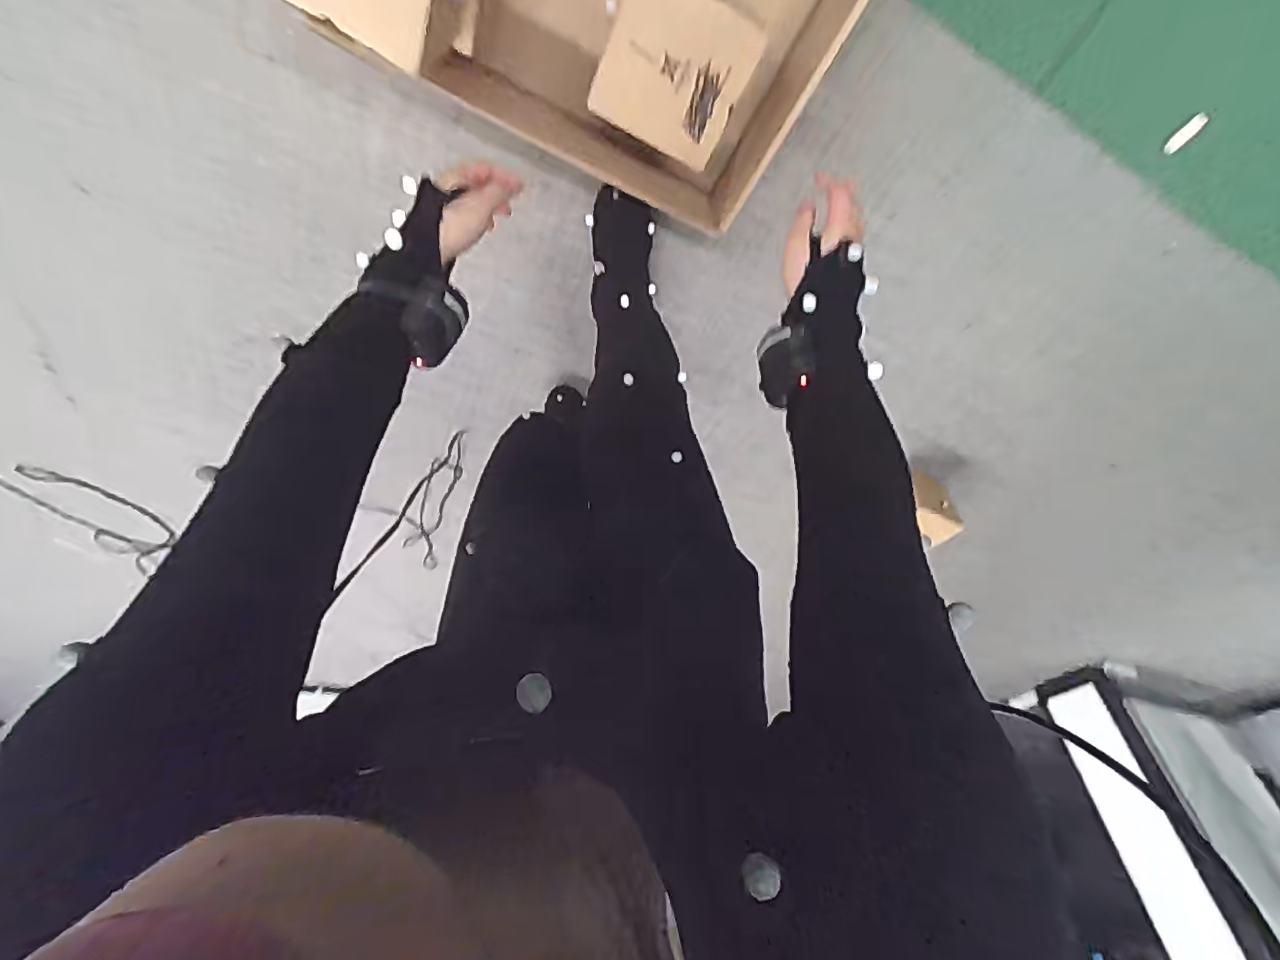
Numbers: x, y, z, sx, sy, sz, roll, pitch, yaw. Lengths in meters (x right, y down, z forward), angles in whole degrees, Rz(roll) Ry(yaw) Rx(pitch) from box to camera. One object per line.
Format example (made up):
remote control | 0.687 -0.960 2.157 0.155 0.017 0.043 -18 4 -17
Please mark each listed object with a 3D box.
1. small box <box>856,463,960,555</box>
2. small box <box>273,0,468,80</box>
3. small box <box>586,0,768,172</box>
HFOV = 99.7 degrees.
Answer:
small box | 0.737 0.079 1.501 0.179 0.176 0.168 22 133 -22
small box | -0.250 -0.532 0.506 0.168 0.176 0.179 20 136 -20
small box | 0.044 -0.558 0.719 0.179 0.176 0.168 19 136 -18
